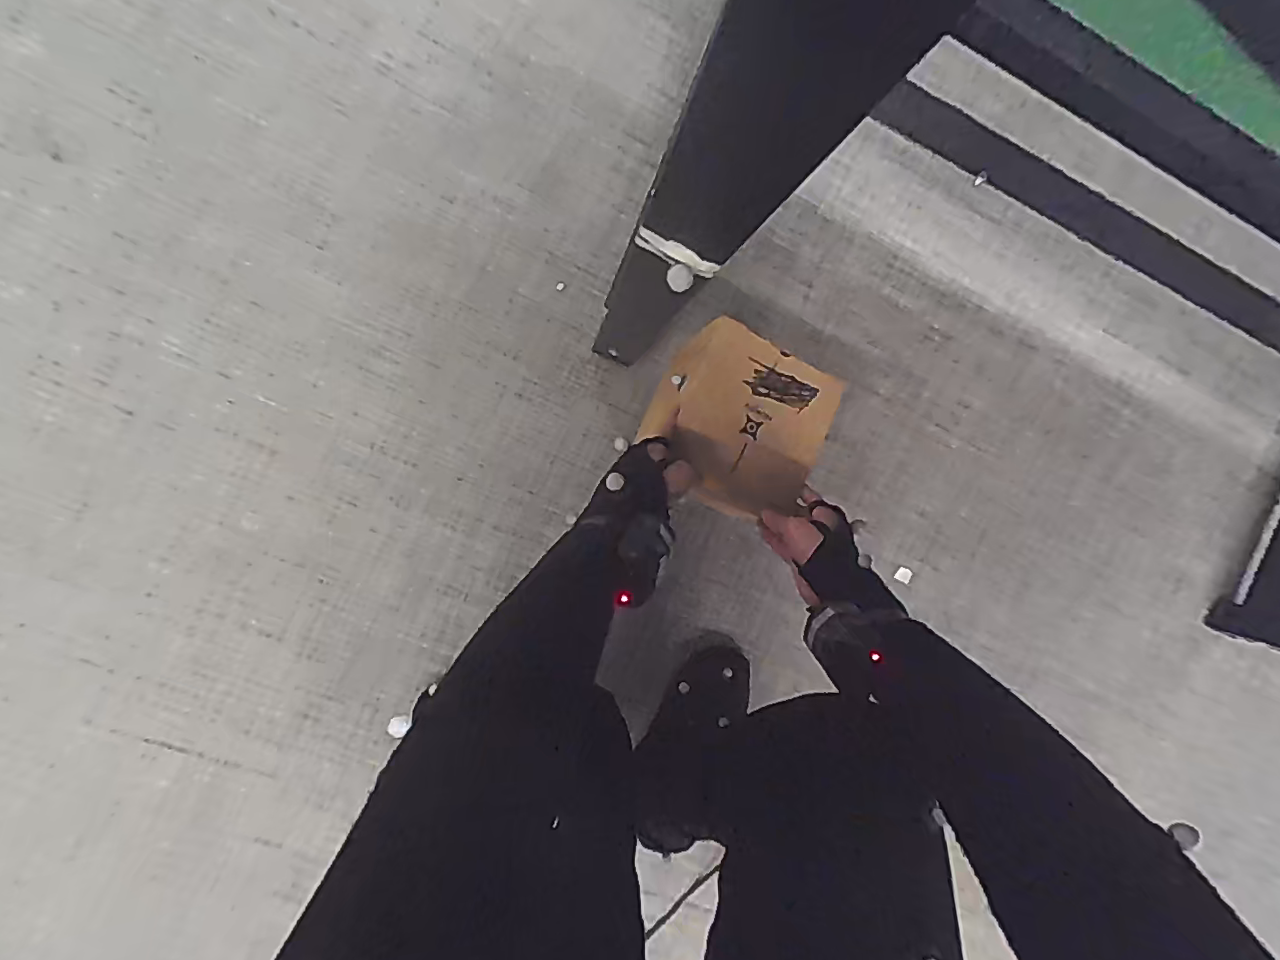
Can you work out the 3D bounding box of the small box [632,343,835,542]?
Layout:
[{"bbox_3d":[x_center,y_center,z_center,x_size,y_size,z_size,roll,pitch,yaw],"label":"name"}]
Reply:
[{"bbox_3d":[0.104,-0.040,0.679,0.168,0.176,0.179,25,85,-10],"label":"small box"}]
